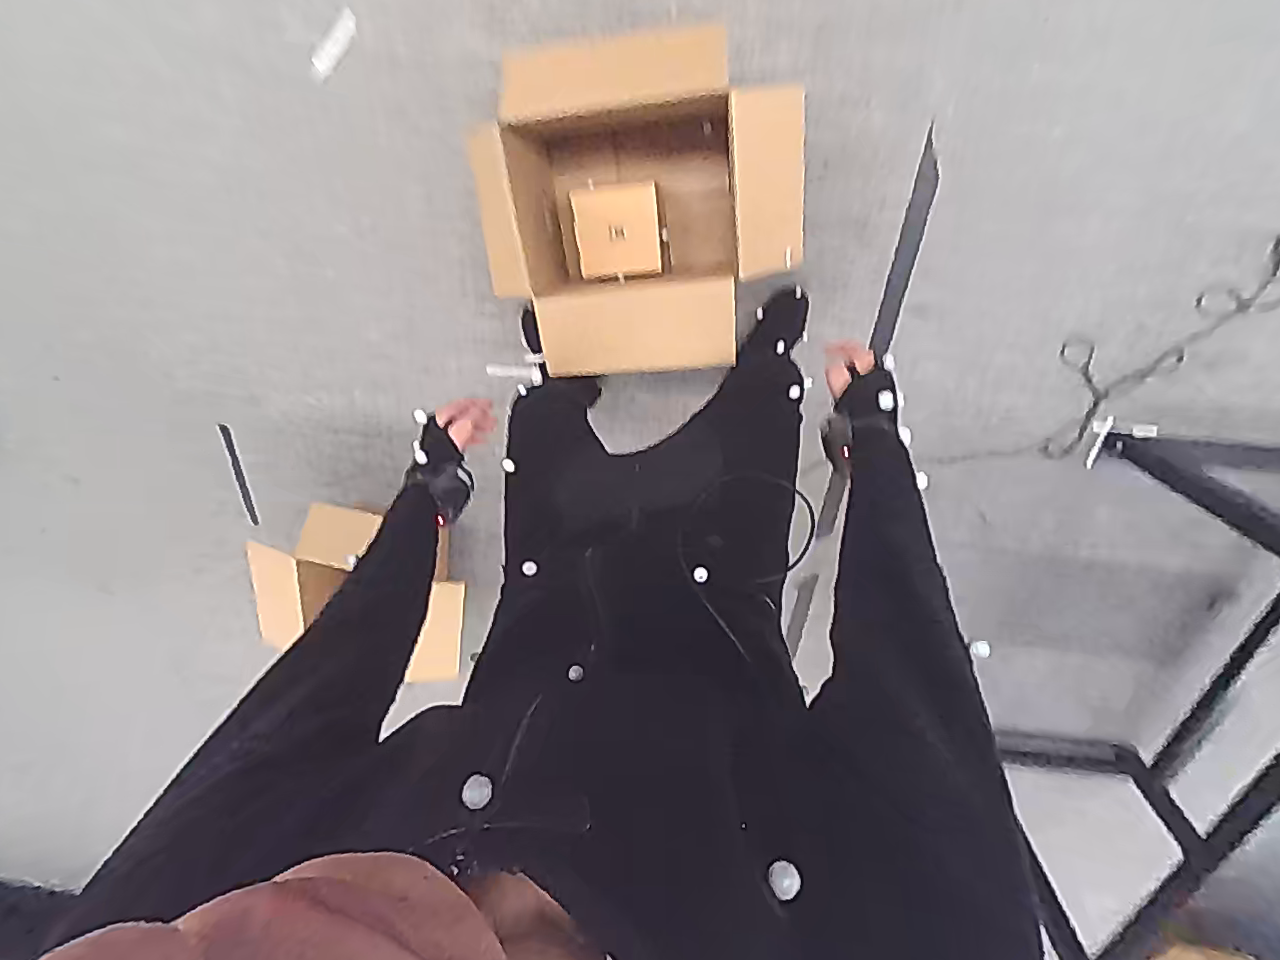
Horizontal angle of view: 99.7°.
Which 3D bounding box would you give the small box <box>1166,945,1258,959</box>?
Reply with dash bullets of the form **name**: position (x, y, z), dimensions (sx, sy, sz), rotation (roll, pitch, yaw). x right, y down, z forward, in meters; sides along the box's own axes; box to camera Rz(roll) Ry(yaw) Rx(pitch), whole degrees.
- **small box**: position (1.138, 1.049, 1.040), dimensions (0.168, 0.176, 0.179), rotation (8, 116, 3)
